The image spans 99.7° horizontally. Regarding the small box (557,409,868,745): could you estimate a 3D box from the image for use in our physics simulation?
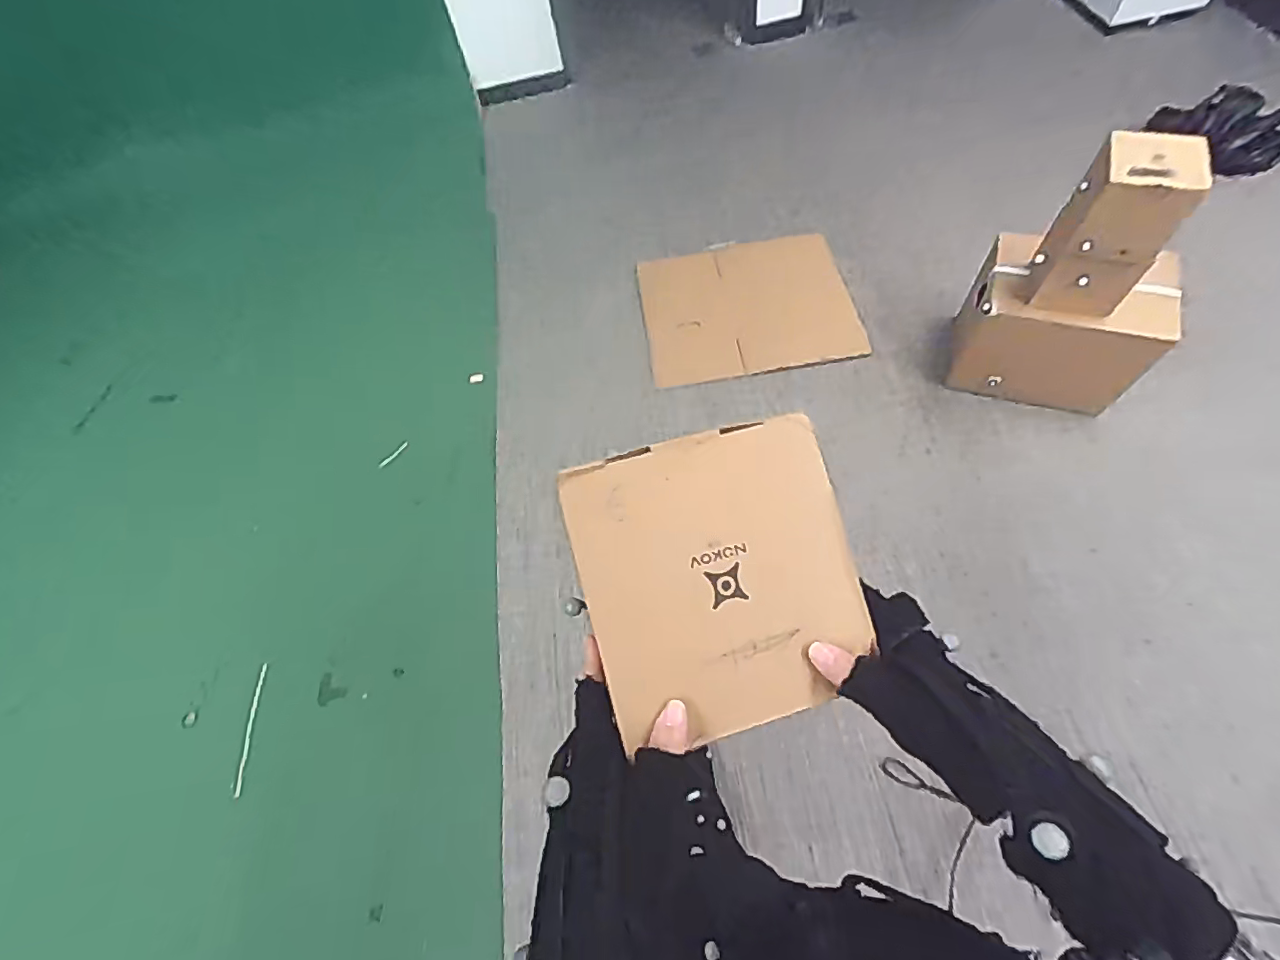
[{"bbox_3d":[0.034,0.064,0.411,0.168,0.176,0.179,-14,85,-9],"label":"small box"}]

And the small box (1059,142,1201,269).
[{"bbox_3d":[1.023,-0.576,1.142,0.168,0.176,0.179,16,64,17],"label":"small box"}]

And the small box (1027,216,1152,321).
[{"bbox_3d":[1.054,-0.501,1.289,0.179,0.176,0.168,11,62,14],"label":"small box"}]
